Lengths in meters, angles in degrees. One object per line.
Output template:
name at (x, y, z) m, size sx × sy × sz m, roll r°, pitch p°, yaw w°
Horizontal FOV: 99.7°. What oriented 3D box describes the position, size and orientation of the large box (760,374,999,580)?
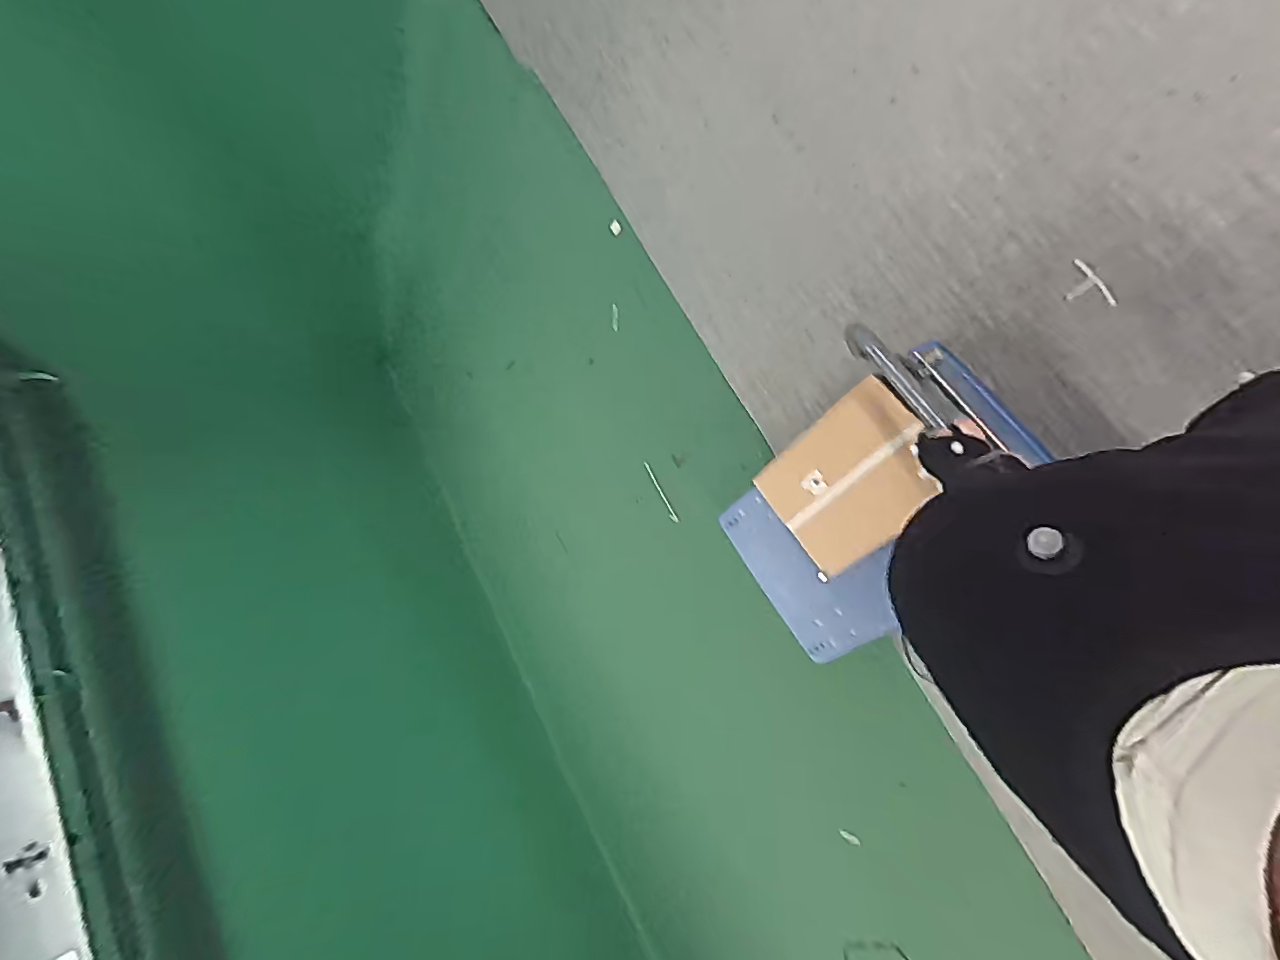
large box at (0.595, -0.018, 1.363) m, size 0.320 × 0.320 × 0.408 m, roll 56°, pitch 129°, yaw 20°
